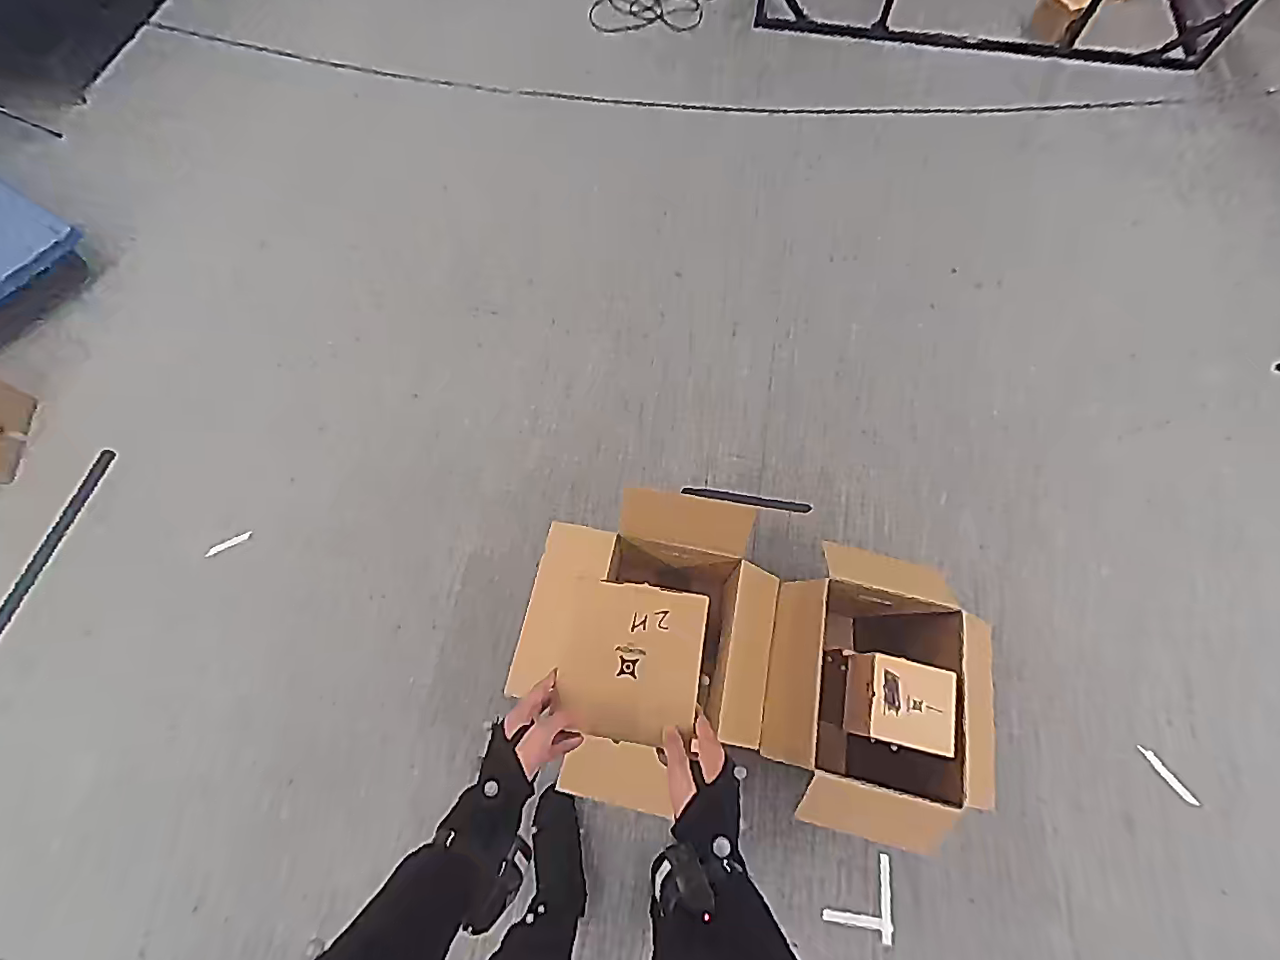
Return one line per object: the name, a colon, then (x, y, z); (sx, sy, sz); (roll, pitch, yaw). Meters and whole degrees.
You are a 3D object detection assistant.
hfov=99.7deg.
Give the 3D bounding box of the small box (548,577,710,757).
small box: (-0.007, 0.234, 0.697); (0.168, 0.176, 0.179); (8, 72, 4)
